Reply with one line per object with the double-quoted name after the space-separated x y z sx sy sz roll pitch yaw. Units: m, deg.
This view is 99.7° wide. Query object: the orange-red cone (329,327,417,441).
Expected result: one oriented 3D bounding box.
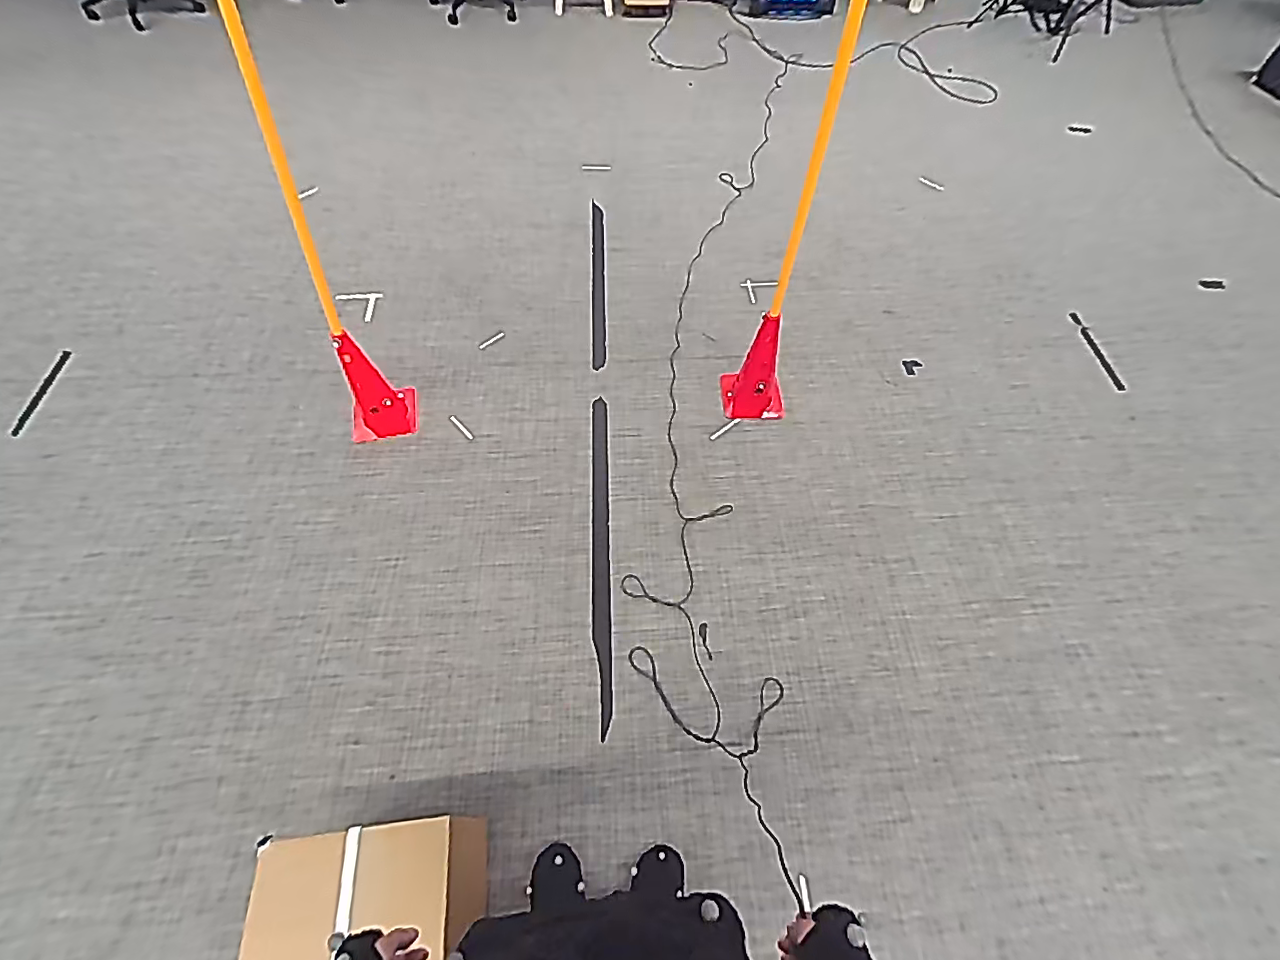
-0.826 -0.306 1.609 0.199 0.360 0.198 -10 58 -7 "orange-red cone"
